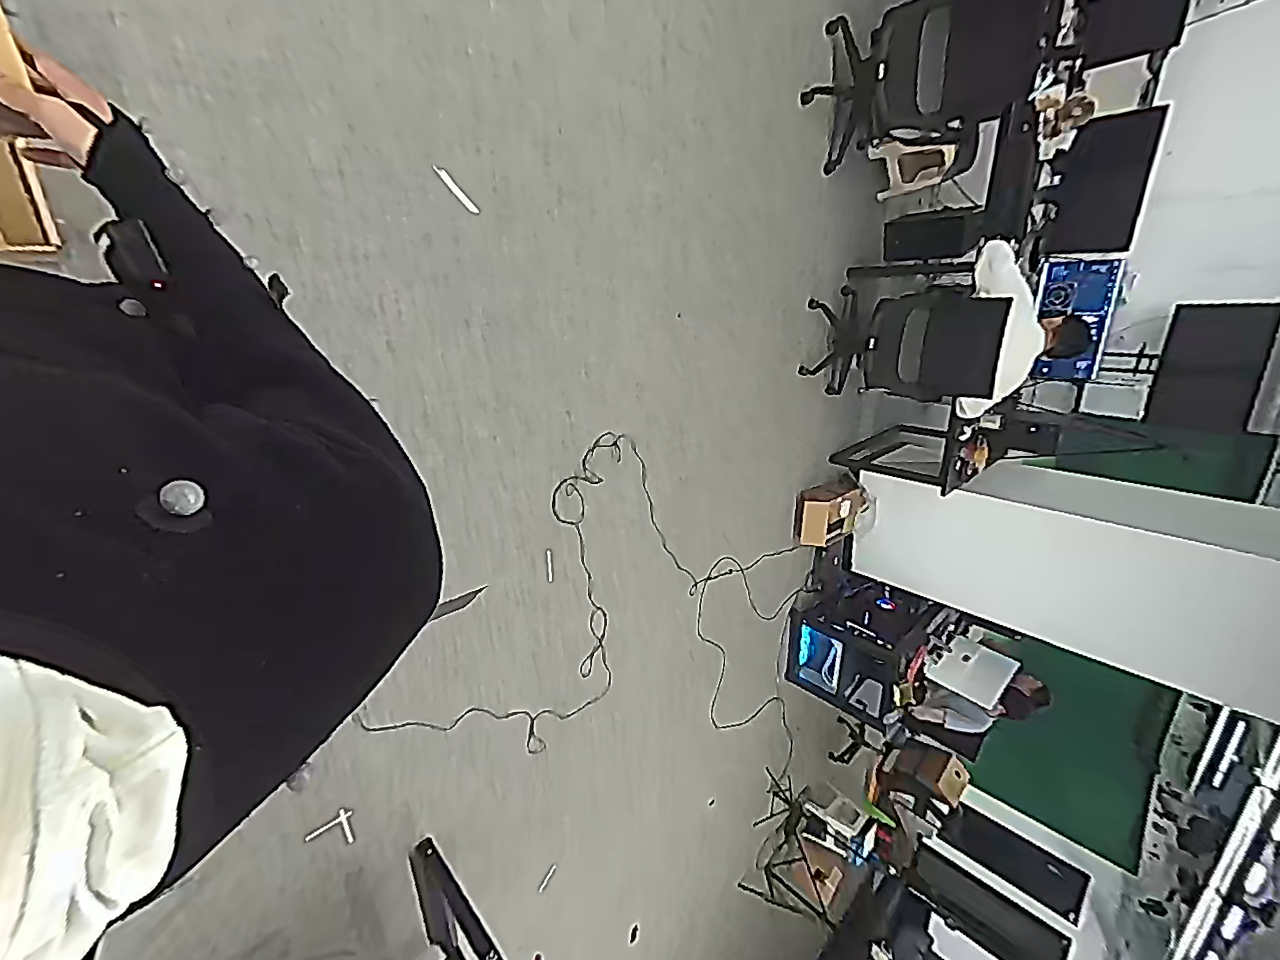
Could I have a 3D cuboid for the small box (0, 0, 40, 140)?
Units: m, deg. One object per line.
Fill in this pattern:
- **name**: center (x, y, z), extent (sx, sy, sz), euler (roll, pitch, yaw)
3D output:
- **small box**: center (-0.622, -0.382, 0.412), extent (0.168, 0.176, 0.179), euler (-29, 124, -46)
